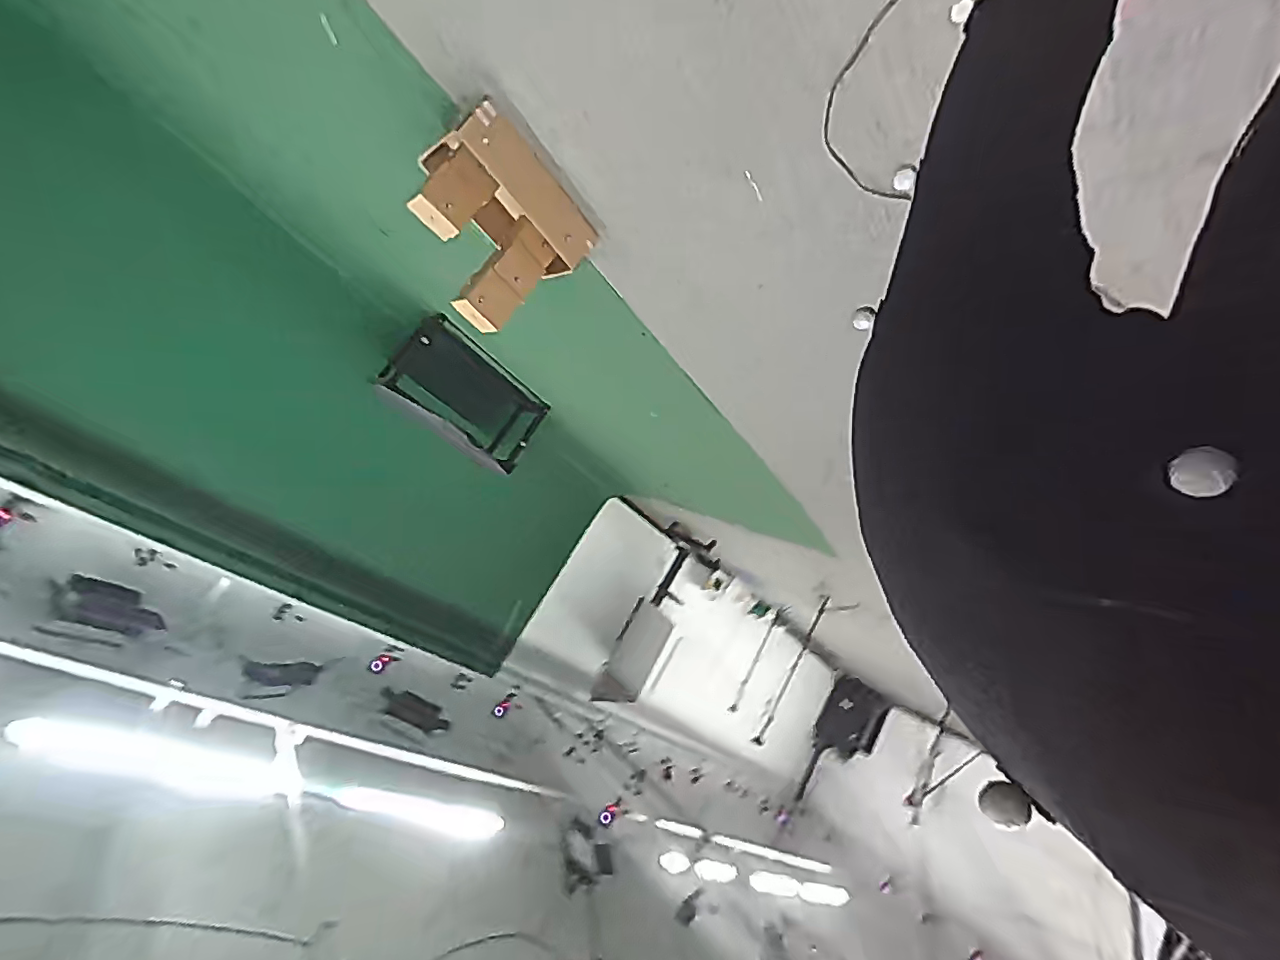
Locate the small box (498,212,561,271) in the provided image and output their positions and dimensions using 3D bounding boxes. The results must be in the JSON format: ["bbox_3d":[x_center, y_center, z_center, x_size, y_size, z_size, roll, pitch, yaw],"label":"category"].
[{"bbox_3d":[-0.454,-0.983,2.253,0.179,0.176,0.168,14,158,49],"label":"small box"}]

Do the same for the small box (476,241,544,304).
[{"bbox_3d":[-0.527,-0.842,2.209,0.168,0.176,0.179,14,157,48],"label":"small box"}]

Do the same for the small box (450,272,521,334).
[{"bbox_3d":[-0.616,-0.711,2.162,0.168,0.176,0.179,15,159,49],"label":"small box"}]

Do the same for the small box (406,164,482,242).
[{"bbox_3d":[-0.717,-1.017,1.991,0.168,0.176,0.179,12,158,49],"label":"small box"}]
